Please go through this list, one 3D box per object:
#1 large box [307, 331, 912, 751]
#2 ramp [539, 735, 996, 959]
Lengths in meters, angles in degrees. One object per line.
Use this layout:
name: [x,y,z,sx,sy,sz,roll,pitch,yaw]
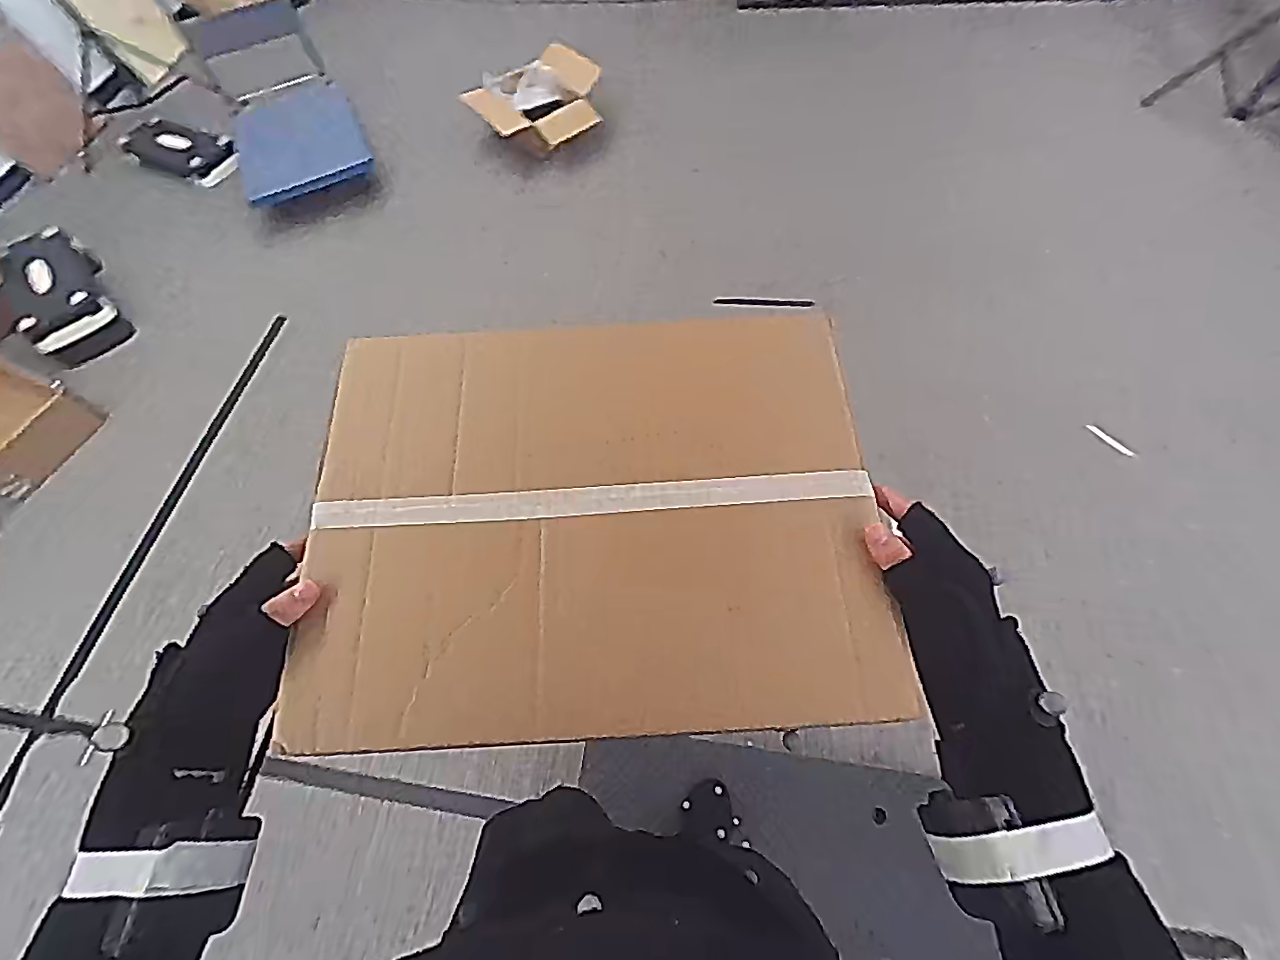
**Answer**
large box: [-0.022,0.078,0.543,0.408,0.320,0.320,-2,67,0]
ramp: [0.311,0.877,1.218,0.991,0.206,0.509,4,61,5]
